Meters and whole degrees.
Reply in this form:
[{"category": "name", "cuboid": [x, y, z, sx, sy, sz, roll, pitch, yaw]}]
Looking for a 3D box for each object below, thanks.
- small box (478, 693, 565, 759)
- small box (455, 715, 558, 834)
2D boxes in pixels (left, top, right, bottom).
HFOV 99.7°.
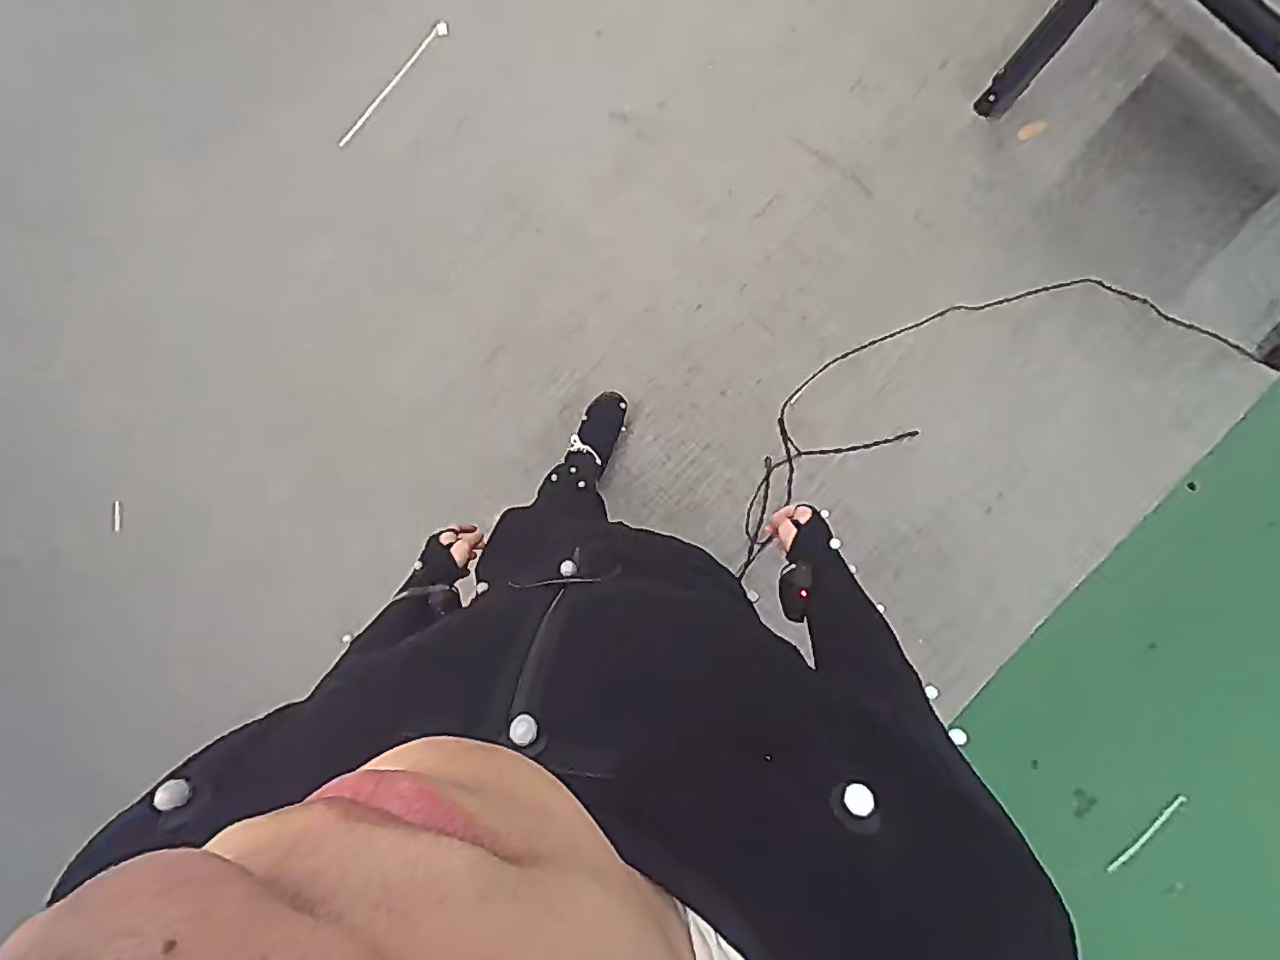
[{"category": "small box", "cuboid": [-0.339, 0.757, 1.571, 0.179, 0.176, 0.168, 44, 92, 0]}, {"category": "small box", "cuboid": [-0.338, 0.754, 1.406, 0.168, 0.176, 0.179, -44, 89, 2]}]
